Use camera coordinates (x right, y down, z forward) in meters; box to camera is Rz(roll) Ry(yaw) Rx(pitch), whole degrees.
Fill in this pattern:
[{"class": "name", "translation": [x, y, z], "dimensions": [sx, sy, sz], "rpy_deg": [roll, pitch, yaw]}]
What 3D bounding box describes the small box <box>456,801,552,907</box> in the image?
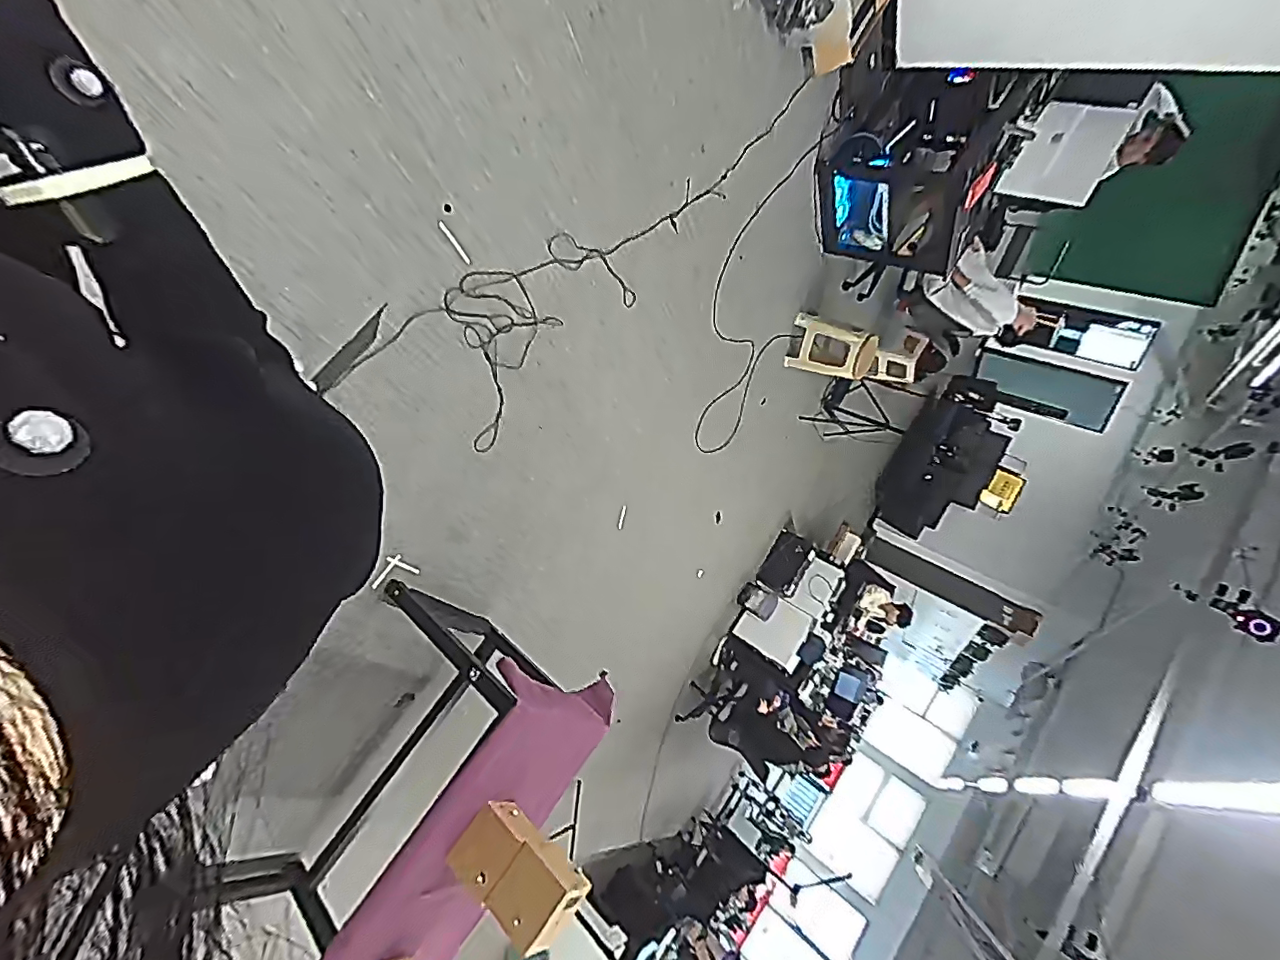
[{"class": "small box", "translation": [-0.390, 1.049, 1.527], "dimensions": [0.179, 0.176, 0.168], "rpy_deg": [-52, 147, -15]}]
